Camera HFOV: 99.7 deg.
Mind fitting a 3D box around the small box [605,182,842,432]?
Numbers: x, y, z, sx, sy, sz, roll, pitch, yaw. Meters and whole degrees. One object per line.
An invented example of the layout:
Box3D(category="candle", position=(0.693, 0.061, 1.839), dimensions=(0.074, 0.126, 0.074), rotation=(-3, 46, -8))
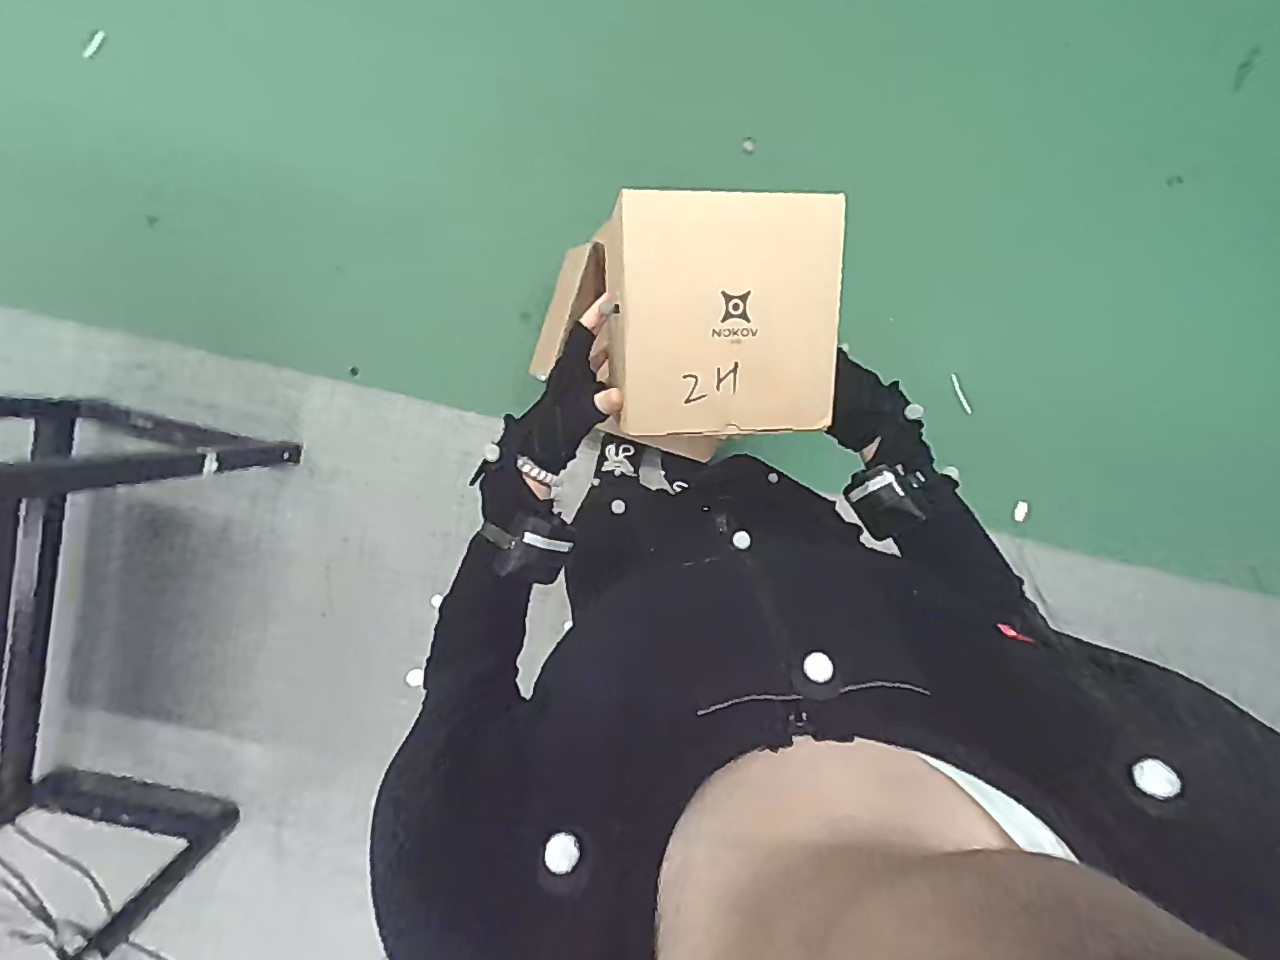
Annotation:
Box3D(category="small box", position=(0.058, -0.141, 0.476), dimensions=(0.168, 0.176, 0.179), rotation=(-3, 103, -6))
